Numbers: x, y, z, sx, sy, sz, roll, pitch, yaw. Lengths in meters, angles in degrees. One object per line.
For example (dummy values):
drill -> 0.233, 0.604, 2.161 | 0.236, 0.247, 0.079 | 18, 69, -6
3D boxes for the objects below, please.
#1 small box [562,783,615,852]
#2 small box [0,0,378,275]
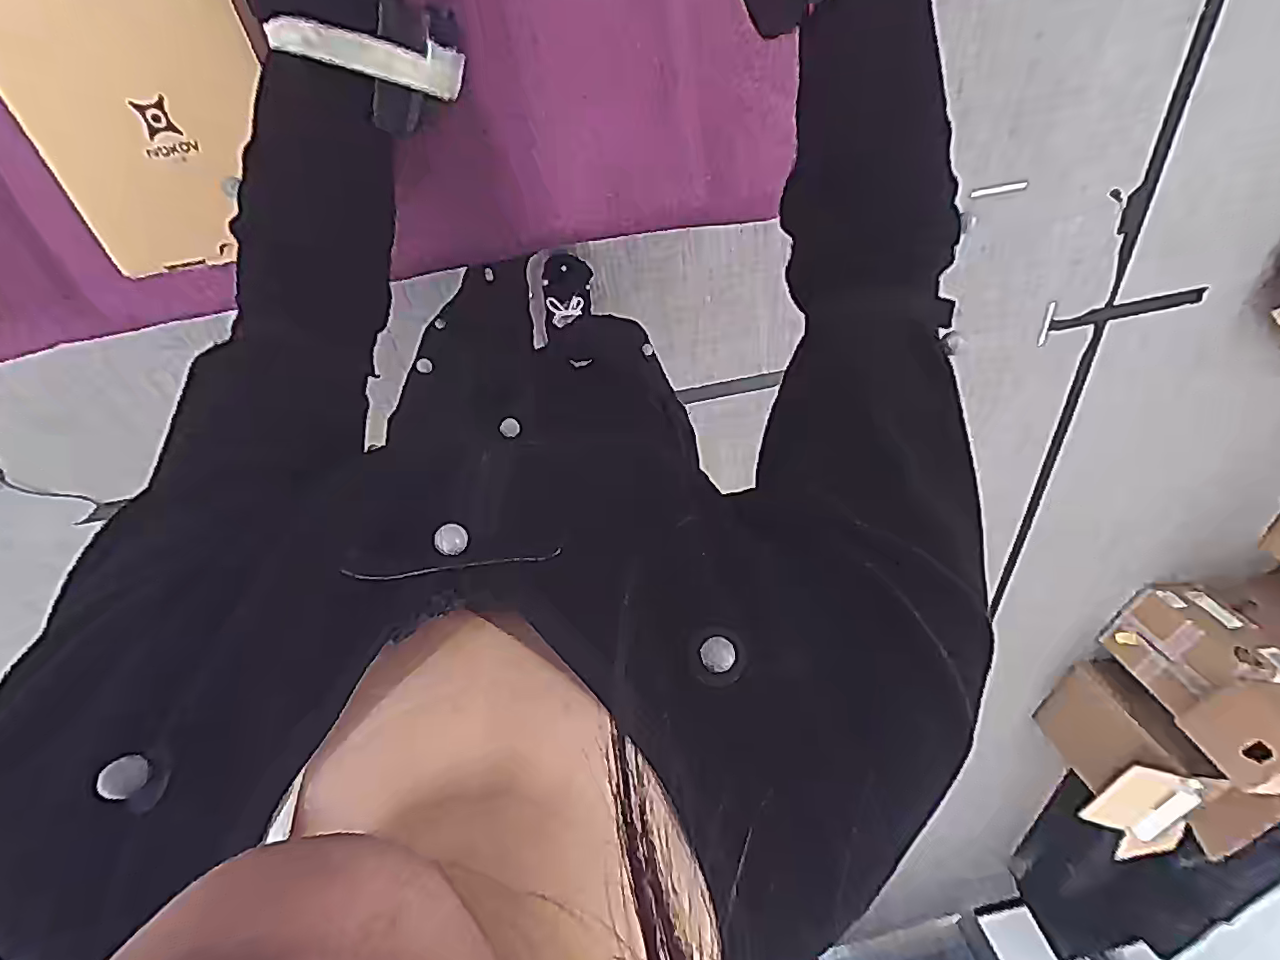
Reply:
small box -> -0.209, 1.342, 2.158 | 0.179, 0.176, 0.168 | -12, 125, -3
small box -> -0.343, -0.289, 0.442 | 0.168, 0.176, 0.179 | -13, 126, -3
